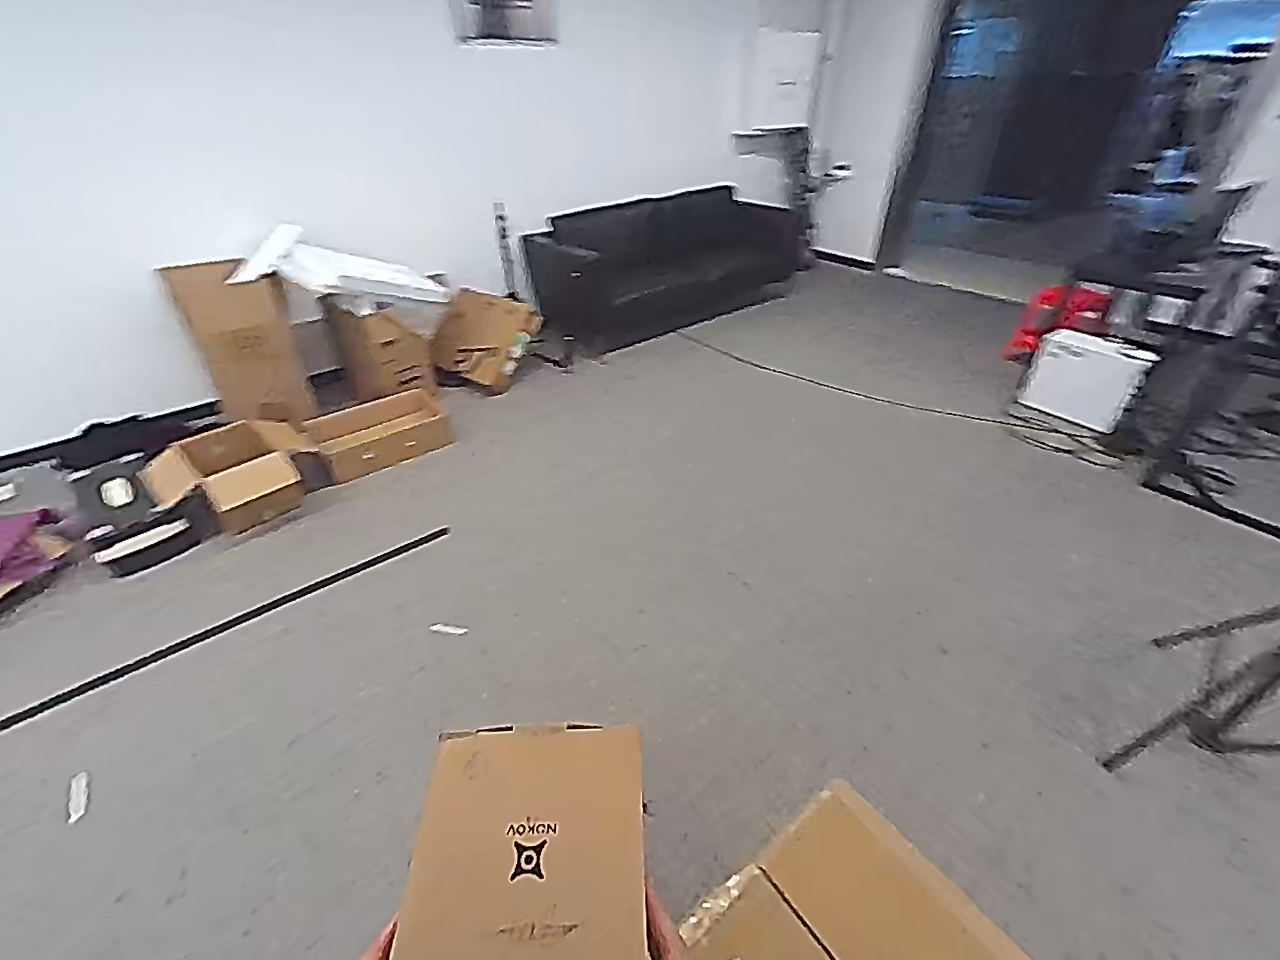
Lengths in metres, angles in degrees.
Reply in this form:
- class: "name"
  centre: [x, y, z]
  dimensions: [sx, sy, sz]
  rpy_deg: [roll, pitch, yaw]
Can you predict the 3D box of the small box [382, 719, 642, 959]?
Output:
- class: "small box"
  centre: [-0.086, 0.317, 0.441]
  dimensions: [0.168, 0.176, 0.179]
  rpy_deg: [-2, 46, -3]
